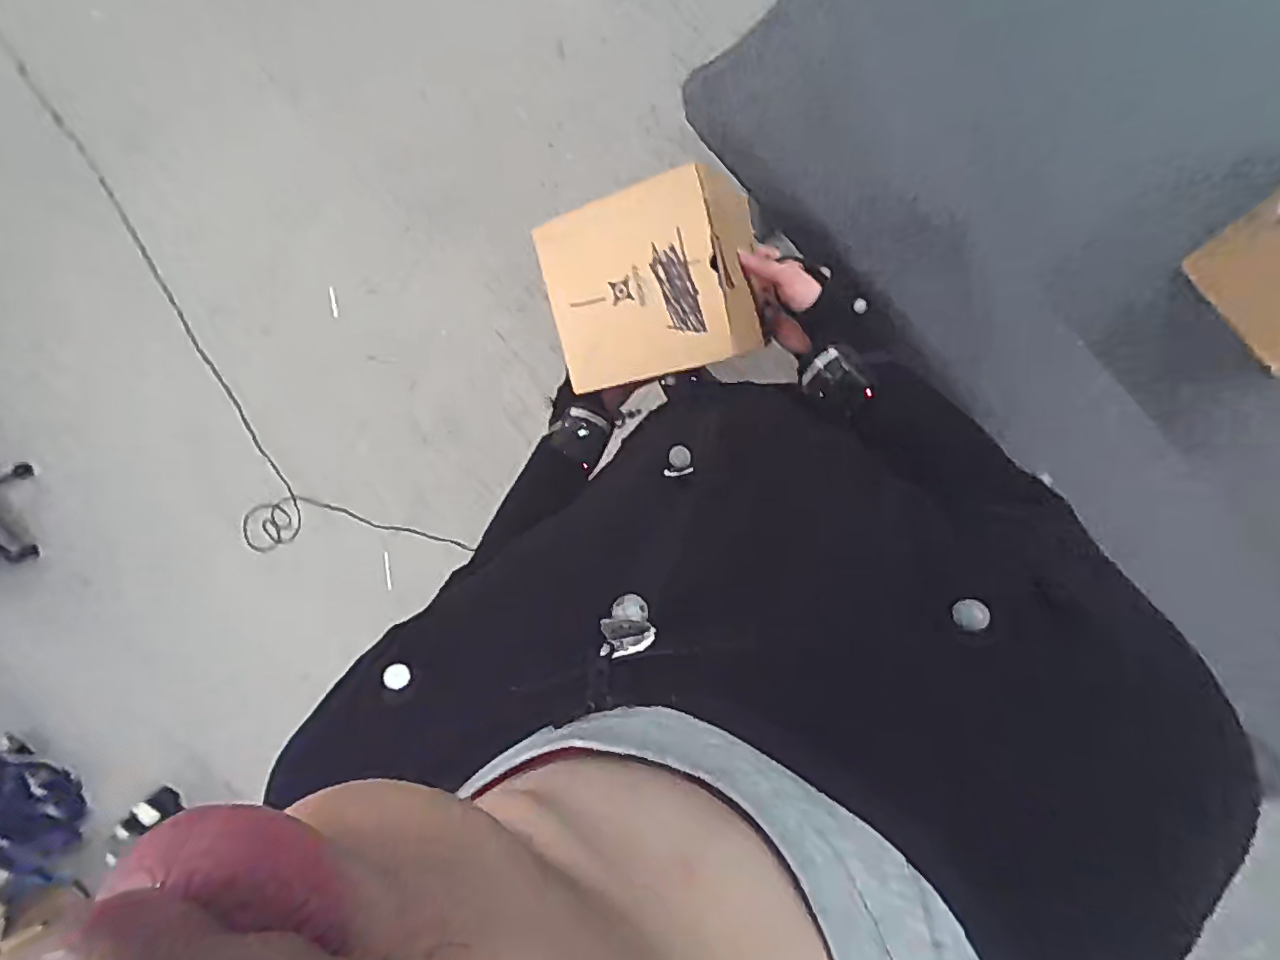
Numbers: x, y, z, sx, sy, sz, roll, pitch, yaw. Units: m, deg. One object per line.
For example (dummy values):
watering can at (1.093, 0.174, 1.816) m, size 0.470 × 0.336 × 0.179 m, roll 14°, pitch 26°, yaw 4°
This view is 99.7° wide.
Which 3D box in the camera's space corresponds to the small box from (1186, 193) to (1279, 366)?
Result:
small box at (0.710, -0.216, 0.521) m, size 0.179 × 0.176 × 0.168 m, roll 46°, pitch 110°, yaw -3°
